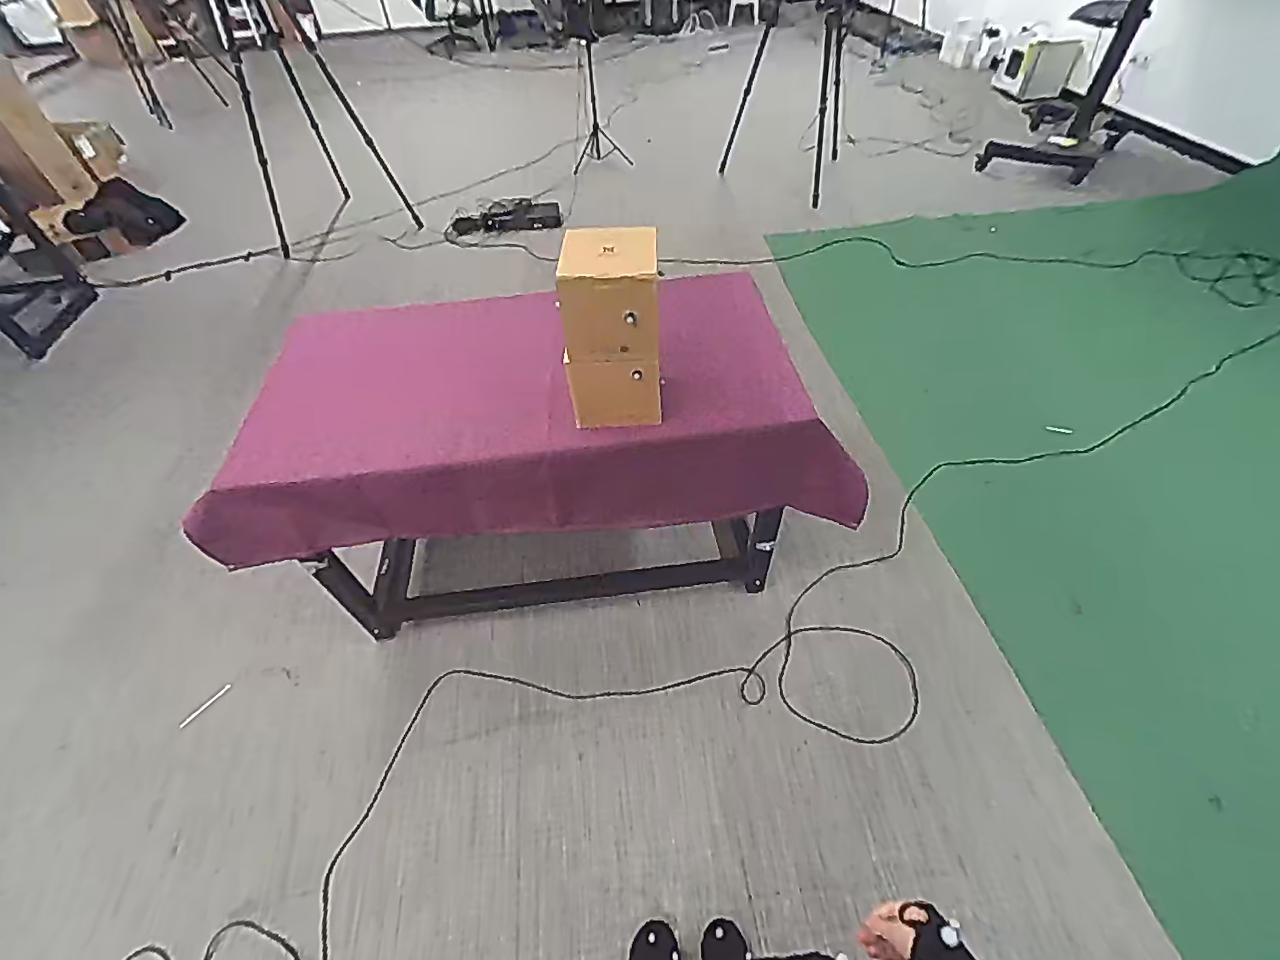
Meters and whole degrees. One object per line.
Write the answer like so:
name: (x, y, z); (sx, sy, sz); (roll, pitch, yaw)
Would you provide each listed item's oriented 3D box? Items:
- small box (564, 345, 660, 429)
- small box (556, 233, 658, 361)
small box: (-0.050, -0.218, 1.109); (0.179, 0.176, 0.168); (-2, 48, 2)
small box: (-0.051, -0.331, 0.992); (0.168, 0.176, 0.179); (0, 47, 2)
